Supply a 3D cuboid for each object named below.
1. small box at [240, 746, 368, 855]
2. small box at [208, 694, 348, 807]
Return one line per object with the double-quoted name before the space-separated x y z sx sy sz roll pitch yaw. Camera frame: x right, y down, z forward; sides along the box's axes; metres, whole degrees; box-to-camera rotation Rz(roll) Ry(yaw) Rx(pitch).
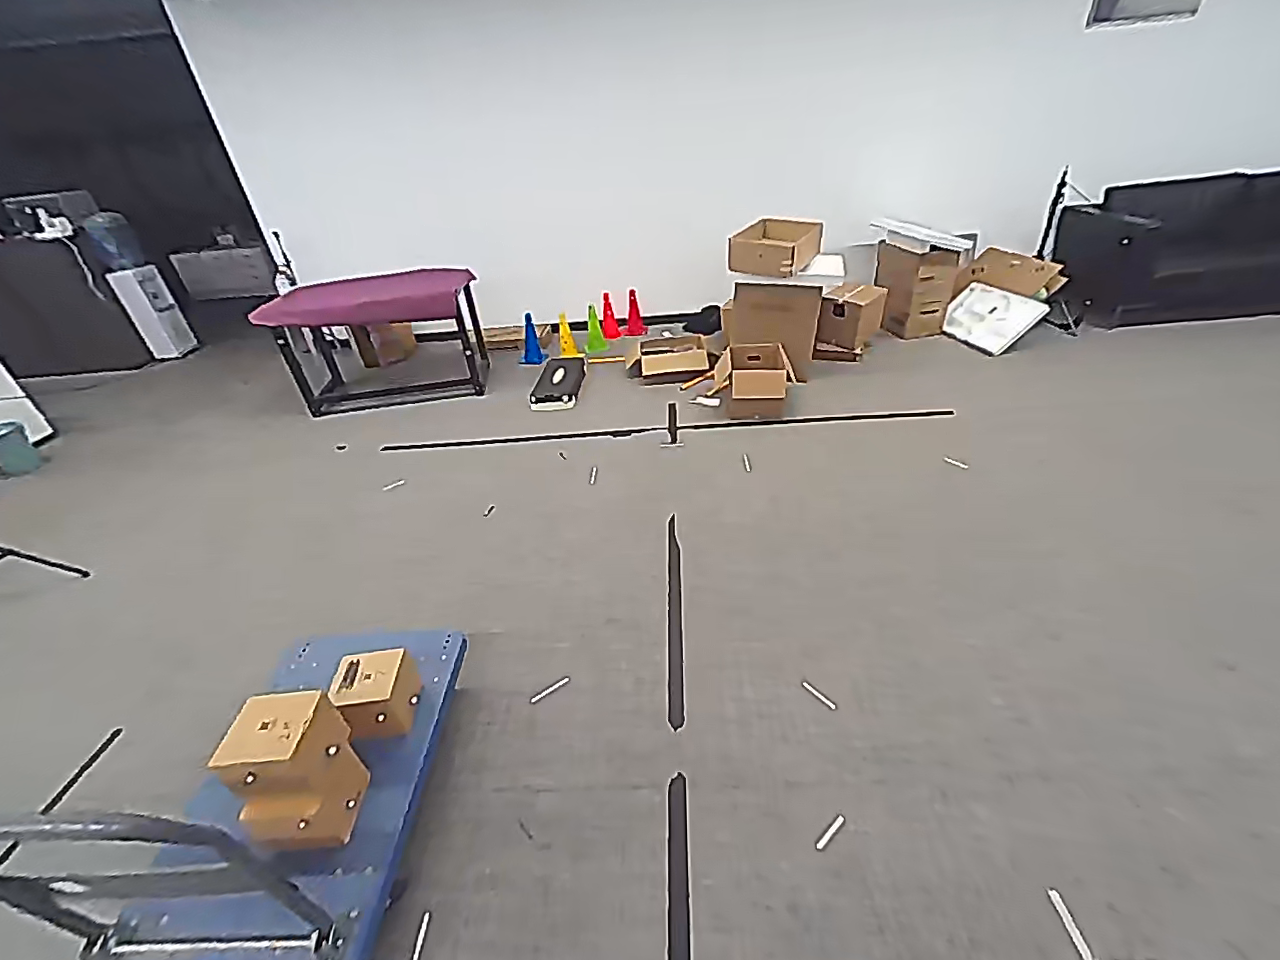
"small box" -0.785 0.761 1.285 0.179 0.176 0.168 -6 33 0
"small box" -0.799 0.610 1.216 0.179 0.176 0.168 -5 34 0
